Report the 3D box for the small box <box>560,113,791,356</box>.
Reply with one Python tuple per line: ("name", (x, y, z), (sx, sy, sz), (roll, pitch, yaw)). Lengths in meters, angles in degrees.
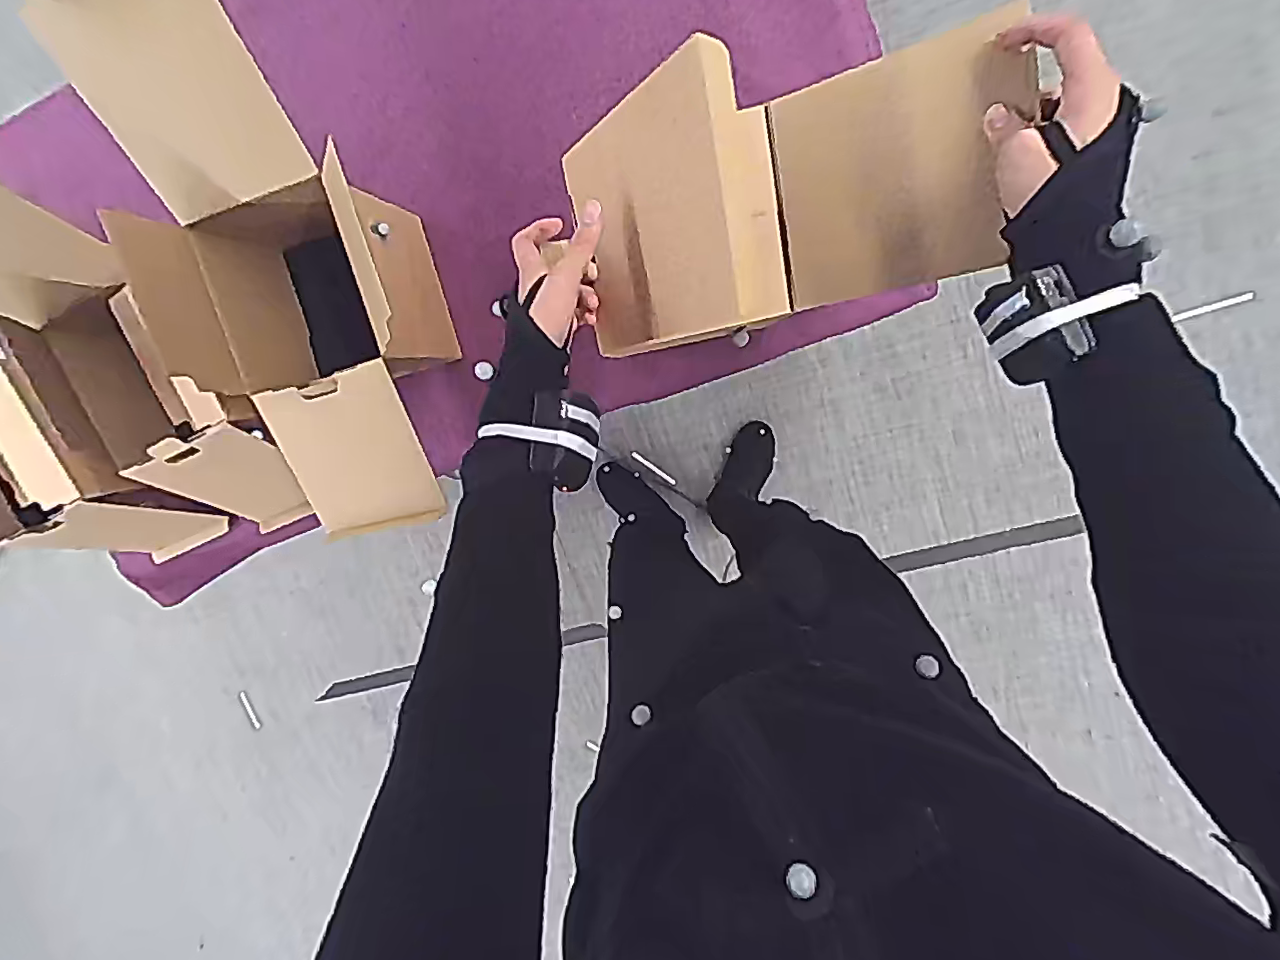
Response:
("small box", (0.035, -0.220, 0.533), (0.179, 0.176, 0.168), (-10, 101, 5))
